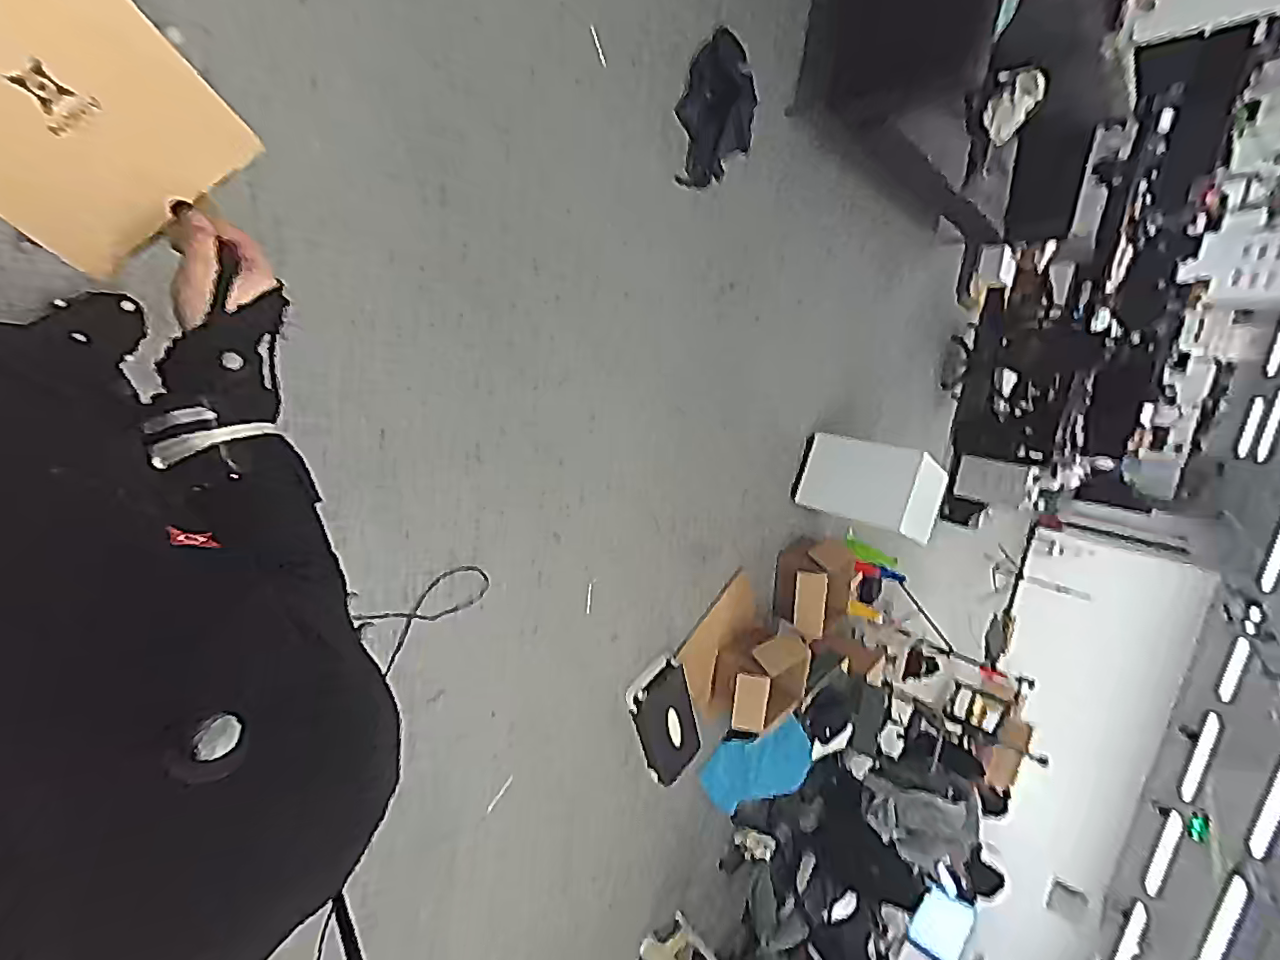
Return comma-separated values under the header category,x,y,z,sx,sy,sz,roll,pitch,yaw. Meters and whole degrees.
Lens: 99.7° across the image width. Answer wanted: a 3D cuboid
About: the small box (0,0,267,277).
category,x,y,z,sx,sy,sz,roll,pitch,yaw
small box,-0.438,-0.284,0.404,0.168,0.176,0.179,-51,141,-11
